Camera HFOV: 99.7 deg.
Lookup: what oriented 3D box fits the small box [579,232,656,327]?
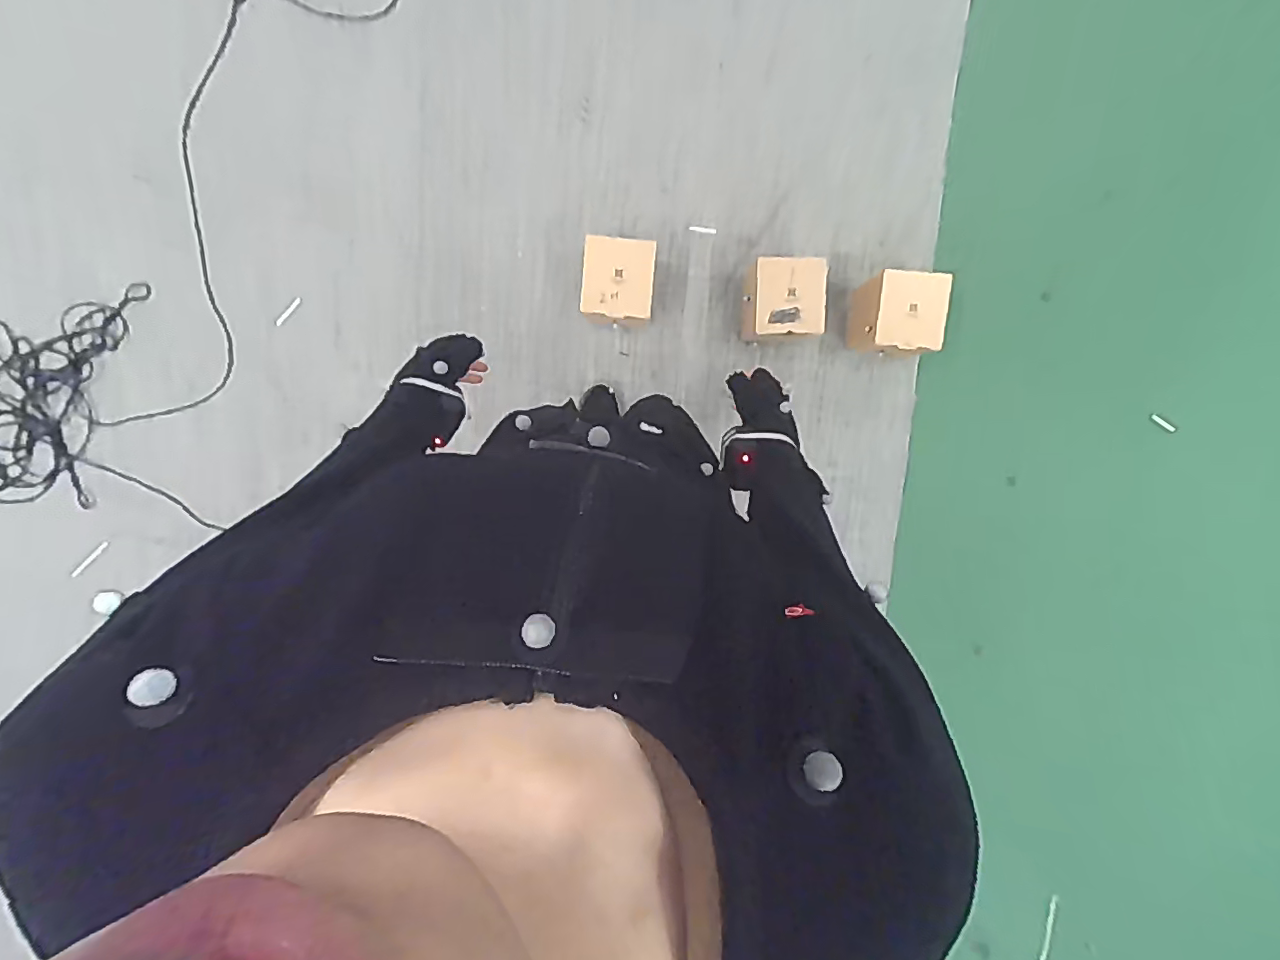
[{"bbox_3d":[-0.054,-0.482,1.319,0.168,0.176,0.179,5,98,-1],"label":"small box"}]

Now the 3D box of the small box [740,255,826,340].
[{"bbox_3d":[0.346,-0.443,1.337,0.168,0.176,0.179,0,97,-2],"label":"small box"}]

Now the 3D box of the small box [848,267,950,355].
[{"bbox_3d":[0.637,-0.416,1.350,0.168,0.176,0.179,4,98,-1],"label":"small box"}]
